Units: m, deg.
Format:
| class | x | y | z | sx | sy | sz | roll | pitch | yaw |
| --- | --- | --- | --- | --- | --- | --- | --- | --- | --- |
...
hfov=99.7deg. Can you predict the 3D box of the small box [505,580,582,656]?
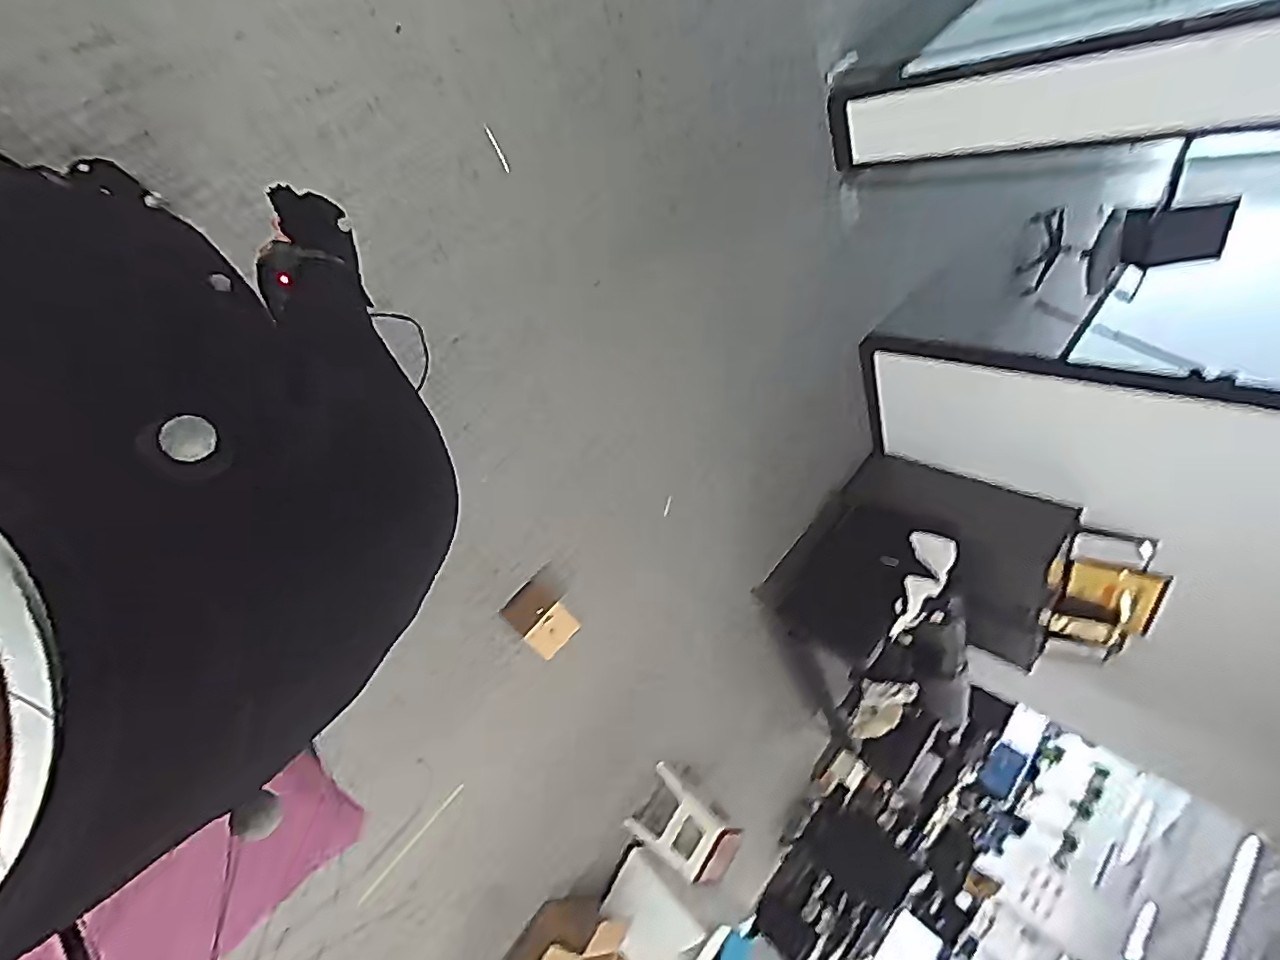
| class | x | y | z | sx | sy | sz | roll | pitch | yaw |
| --- | --- | --- | --- | --- | --- | --- | --- | --- | --- |
| small box | -0.344 | 0.485 | 1.922 | 0.168 | 0.176 | 0.179 | -46 | 134 | -18 |
